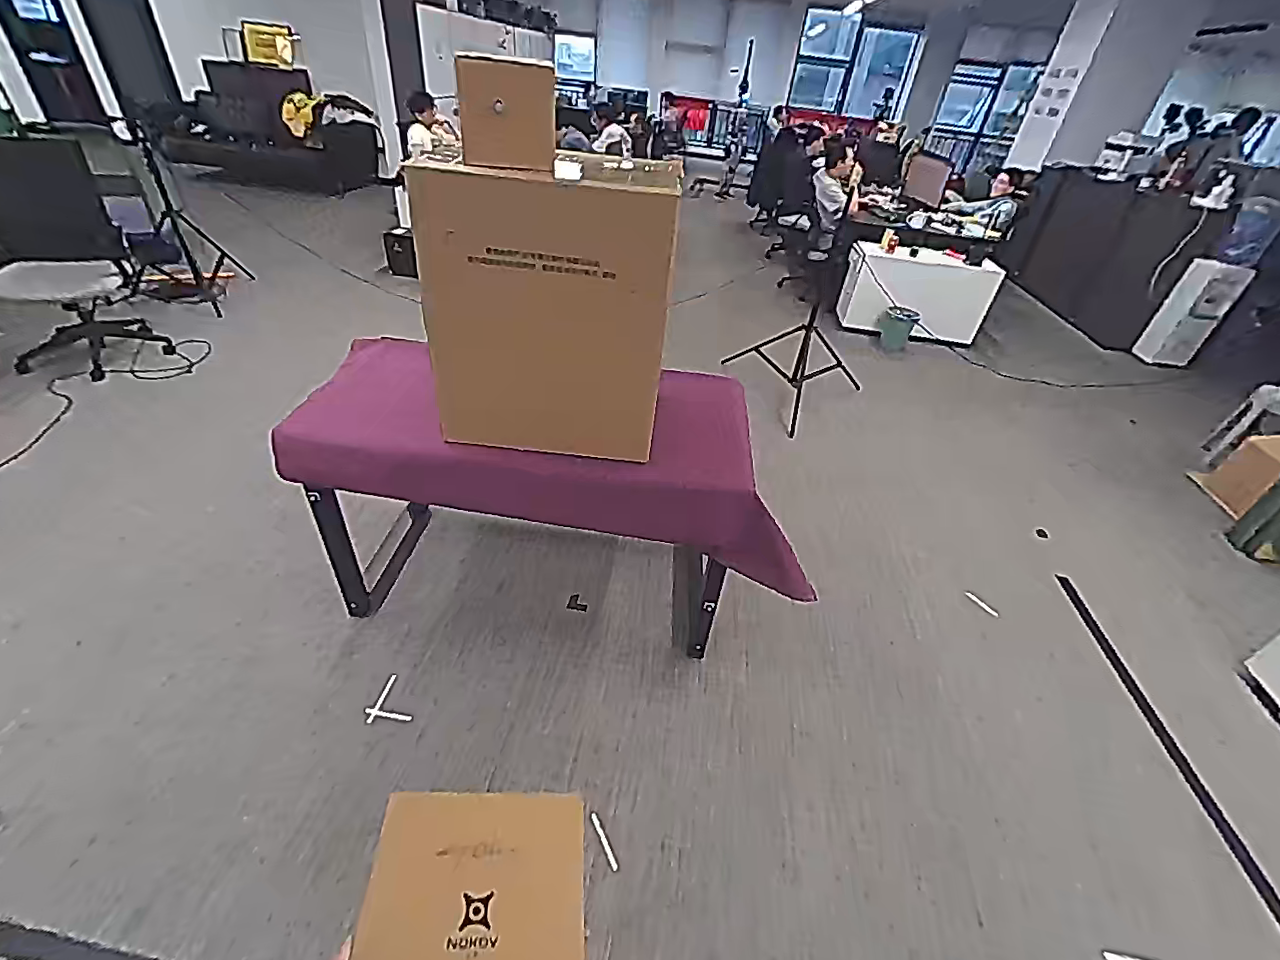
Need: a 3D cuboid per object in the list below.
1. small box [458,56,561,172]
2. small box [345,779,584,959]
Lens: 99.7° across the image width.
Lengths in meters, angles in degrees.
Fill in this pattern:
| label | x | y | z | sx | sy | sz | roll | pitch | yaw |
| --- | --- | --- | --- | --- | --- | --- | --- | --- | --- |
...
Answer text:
| label | x | y | z | sx | sy | sz | roll | pitch | yaw |
| --- | --- | --- | --- | --- | --- | --- | --- | --- | --- |
| small box | -0.249 | -0.711 | 1.054 | 0.179 | 0.176 | 0.168 | -3 | 40 | -11 |
| small box | -0.141 | 0.377 | 0.452 | 0.168 | 0.176 | 0.179 | 8 | 38 | -13 |
